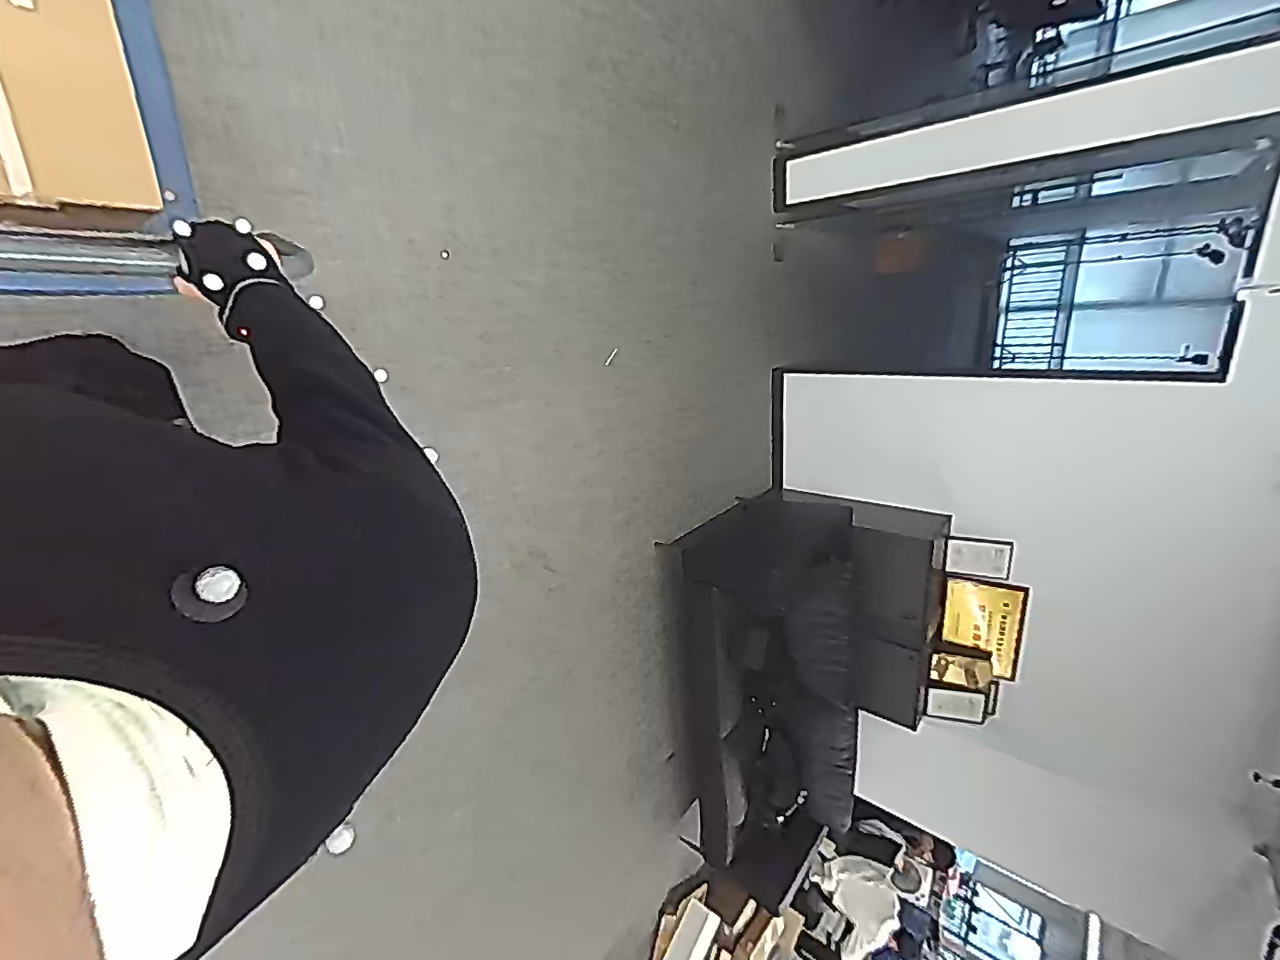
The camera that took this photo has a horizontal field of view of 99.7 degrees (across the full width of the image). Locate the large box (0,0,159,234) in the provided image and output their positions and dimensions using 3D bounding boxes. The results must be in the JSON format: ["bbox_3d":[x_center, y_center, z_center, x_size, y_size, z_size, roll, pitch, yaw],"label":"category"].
[{"bbox_3d":[-0.996,-0.610,0.802,0.320,0.320,0.408,-21,113,-47],"label":"large box"}]
